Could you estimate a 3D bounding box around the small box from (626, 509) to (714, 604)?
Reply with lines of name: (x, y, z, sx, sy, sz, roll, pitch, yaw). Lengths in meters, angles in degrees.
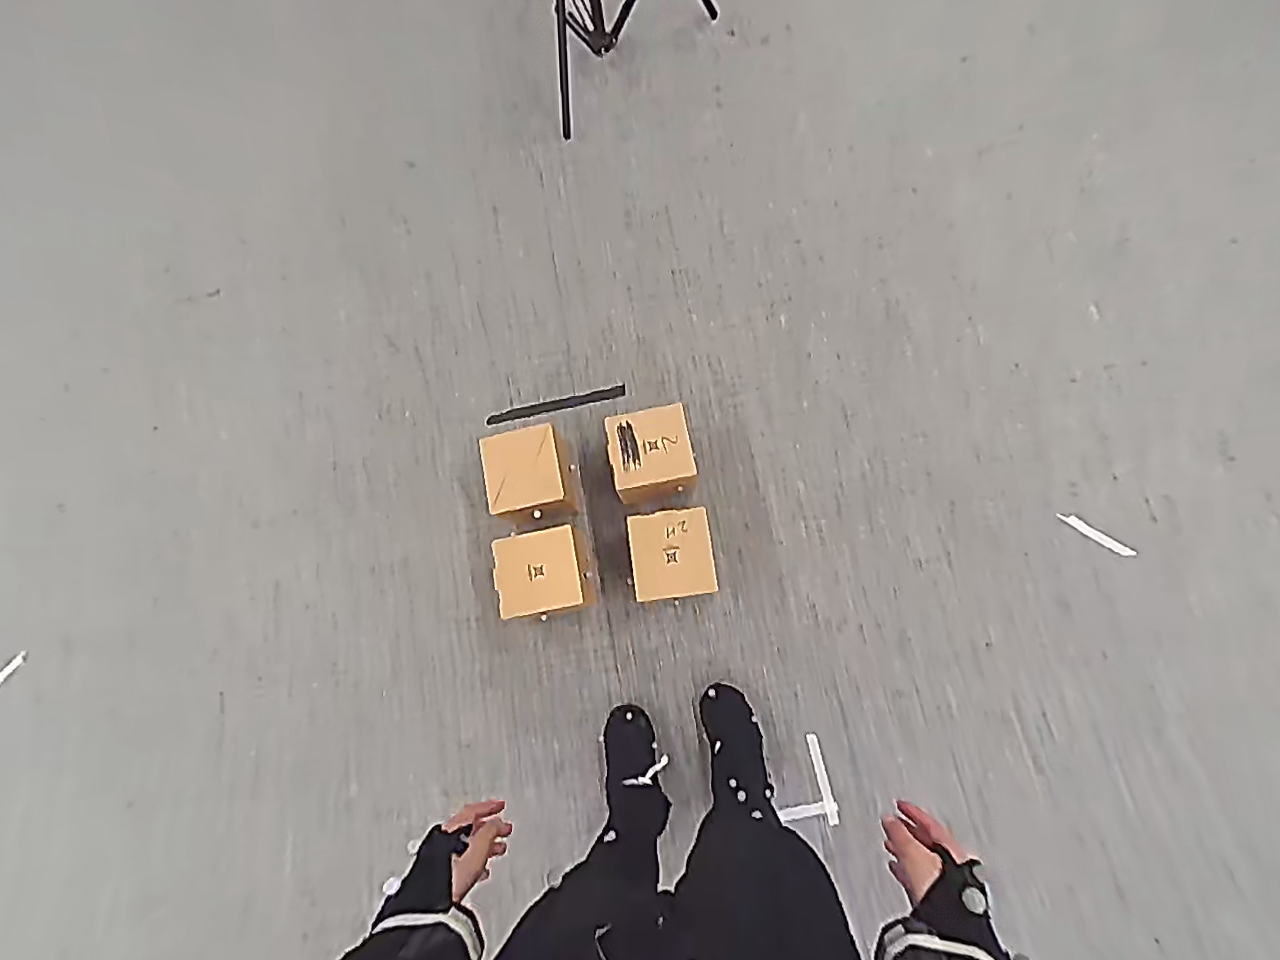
small box: (0.067, 0.170, 1.173, 0.168, 0.176, 0.179, -8, 76, 3)

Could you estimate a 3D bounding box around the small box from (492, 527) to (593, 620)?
small box: (-0.207, 0.208, 1.193, 0.179, 0.176, 0.168, -12, 76, 3)
